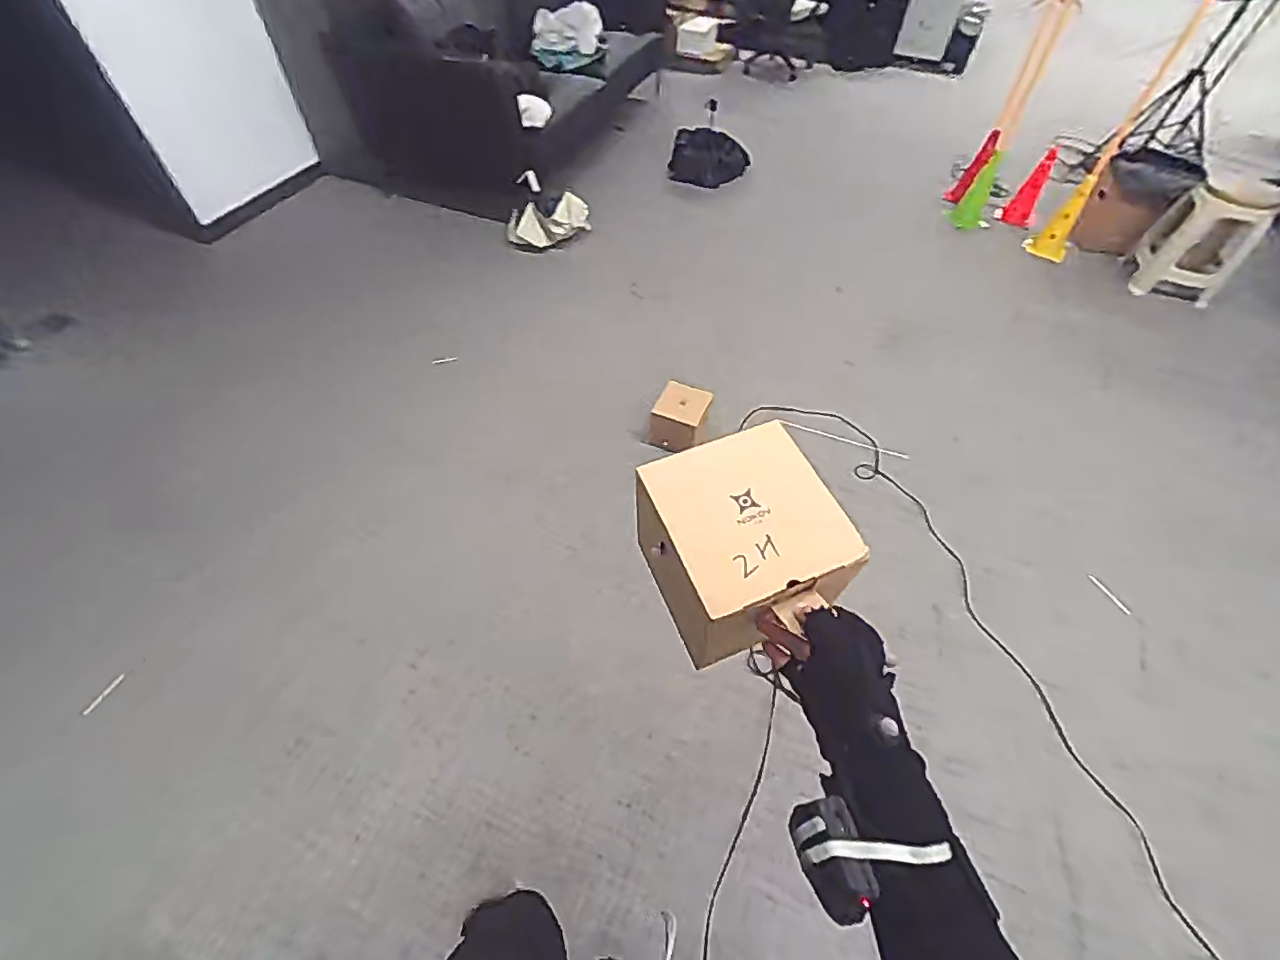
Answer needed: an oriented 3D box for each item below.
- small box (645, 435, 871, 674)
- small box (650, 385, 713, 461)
[{"bbox_3d":[0.108,0.084,0.591,0.168,0.176,0.179,-18,59,-11],"label":"small box"},{"bbox_3d":[0.140,-0.199,1.898,0.168,0.176,0.179,21,55,14],"label":"small box"}]
